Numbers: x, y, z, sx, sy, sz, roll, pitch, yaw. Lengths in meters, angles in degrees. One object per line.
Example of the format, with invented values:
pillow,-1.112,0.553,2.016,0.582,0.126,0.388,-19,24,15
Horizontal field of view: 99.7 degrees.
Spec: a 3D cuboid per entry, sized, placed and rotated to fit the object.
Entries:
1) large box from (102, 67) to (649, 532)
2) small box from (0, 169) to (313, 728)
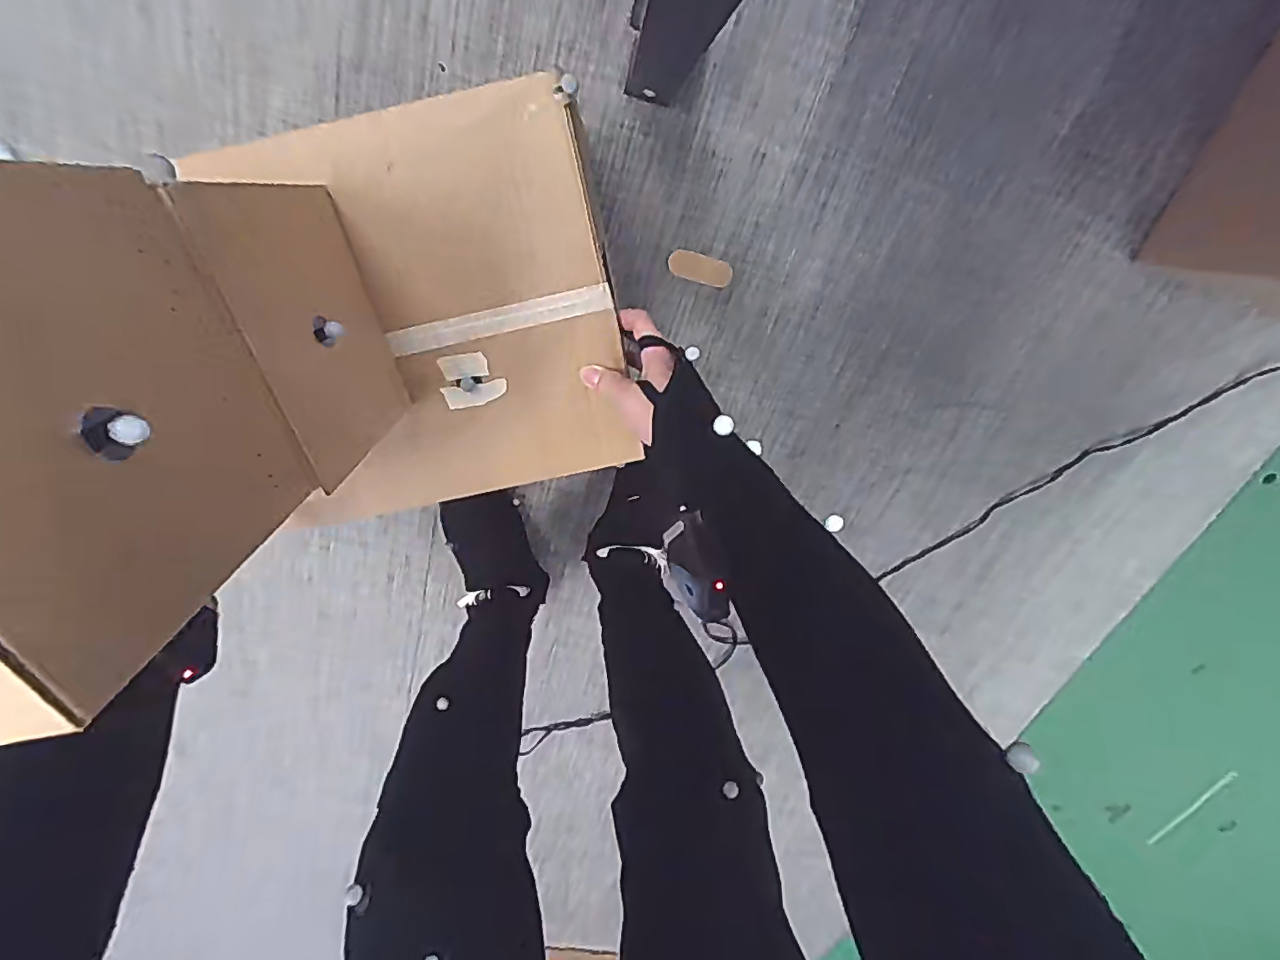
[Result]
large box,-0.227,-0.189,0.598,0.408,0.320,0.320,-13,118,1
small box,-0.282,-0.018,0.220,0.168,0.176,0.179,-11,118,2
